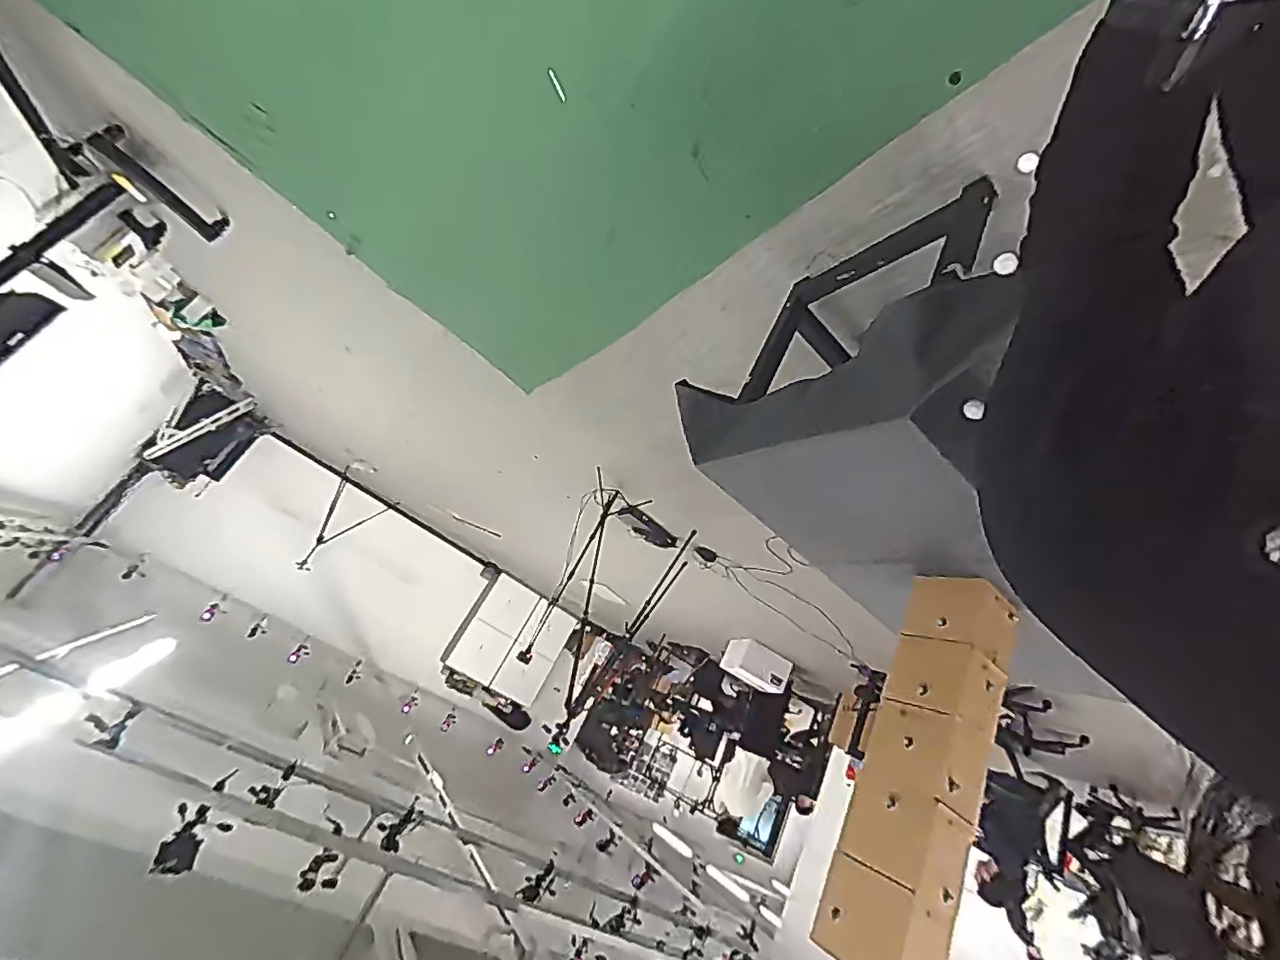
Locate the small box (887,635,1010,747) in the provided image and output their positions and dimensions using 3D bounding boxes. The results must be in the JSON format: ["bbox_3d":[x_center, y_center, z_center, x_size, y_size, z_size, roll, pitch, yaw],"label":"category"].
[{"bbox_3d":[0.712,0.475,1.246,0.168,0.176,0.179,39,155,-21],"label":"small box"}]

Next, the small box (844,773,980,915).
[{"bbox_3d":[0.561,0.735,1.114,0.168,0.176,0.179,40,155,-23],"label":"small box"}]

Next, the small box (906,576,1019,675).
[{"bbox_3d":[0.786,0.346,1.309,0.168,0.176,0.179,38,157,-21],"label":"small box"}]

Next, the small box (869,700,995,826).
[{"bbox_3d":[0.638,0.606,1.179,0.179,0.176,0.168,39,155,-22],"label":"small box"}]
